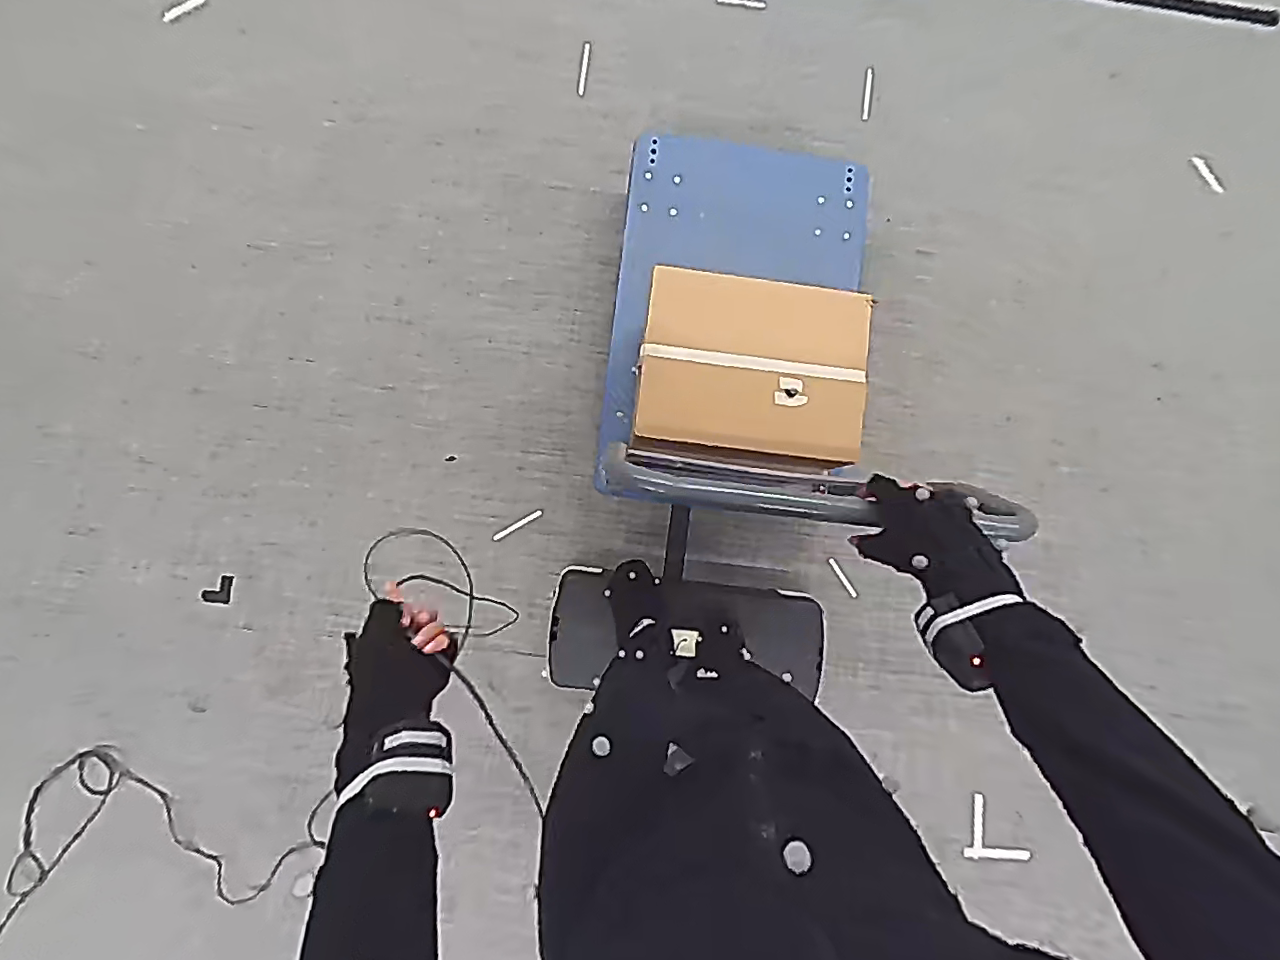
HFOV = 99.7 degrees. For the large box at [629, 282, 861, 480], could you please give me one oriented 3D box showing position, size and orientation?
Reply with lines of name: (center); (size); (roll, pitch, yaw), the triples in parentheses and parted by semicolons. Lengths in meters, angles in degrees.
large box: (0.192, -0.182, 1.135); (0.408, 0.320, 0.320); (7, 86, -3)
